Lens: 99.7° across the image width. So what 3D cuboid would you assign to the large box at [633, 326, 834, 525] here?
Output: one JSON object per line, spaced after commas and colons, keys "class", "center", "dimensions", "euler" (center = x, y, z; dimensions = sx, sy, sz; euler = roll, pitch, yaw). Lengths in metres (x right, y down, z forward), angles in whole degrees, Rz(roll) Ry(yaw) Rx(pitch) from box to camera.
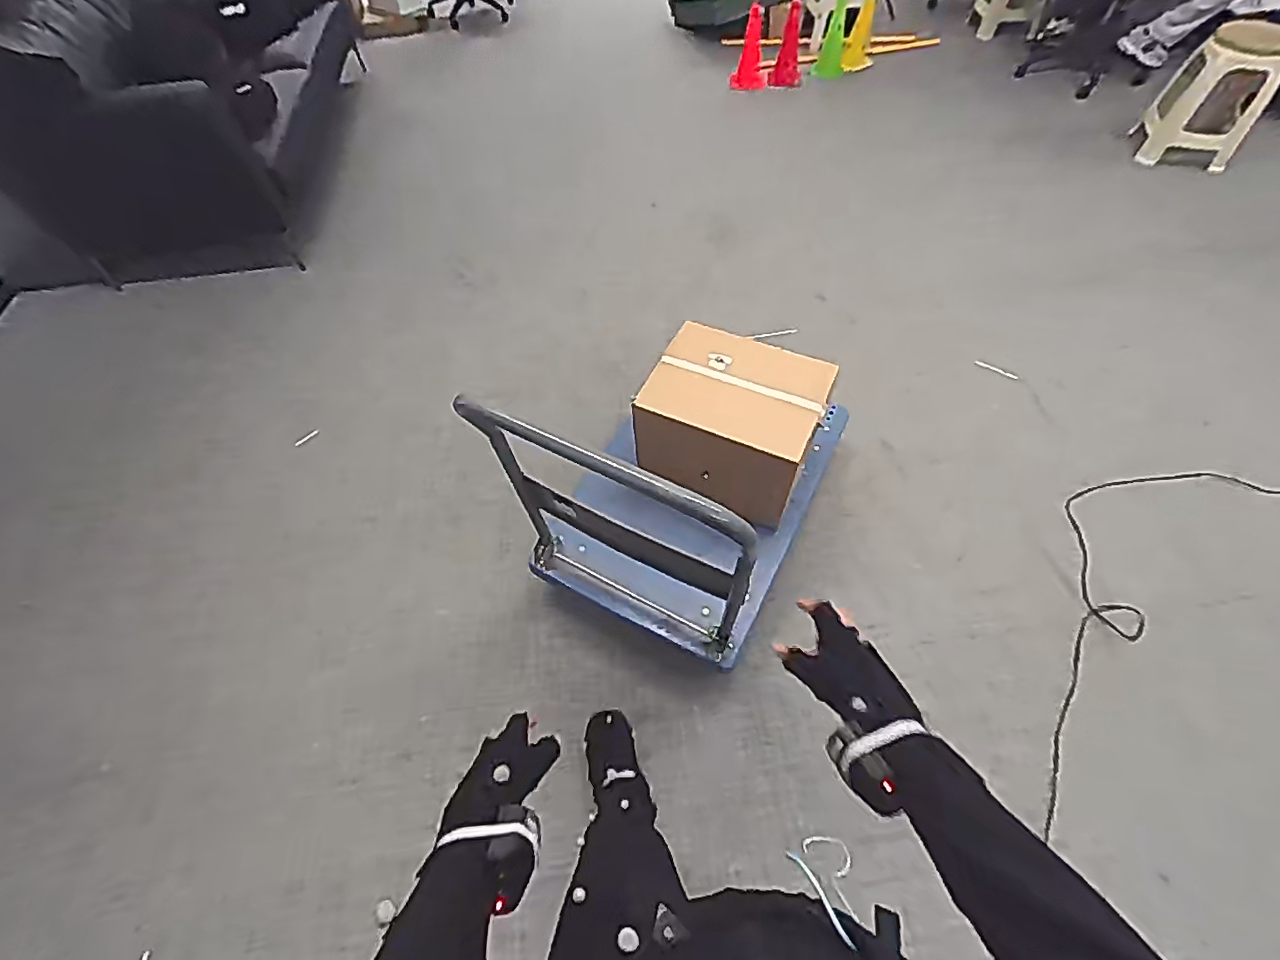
{"class": "large box", "center": [0.237, -0.139, 1.408], "dimensions": [0.408, 0.320, 0.320], "euler": [22, 60, 17]}
